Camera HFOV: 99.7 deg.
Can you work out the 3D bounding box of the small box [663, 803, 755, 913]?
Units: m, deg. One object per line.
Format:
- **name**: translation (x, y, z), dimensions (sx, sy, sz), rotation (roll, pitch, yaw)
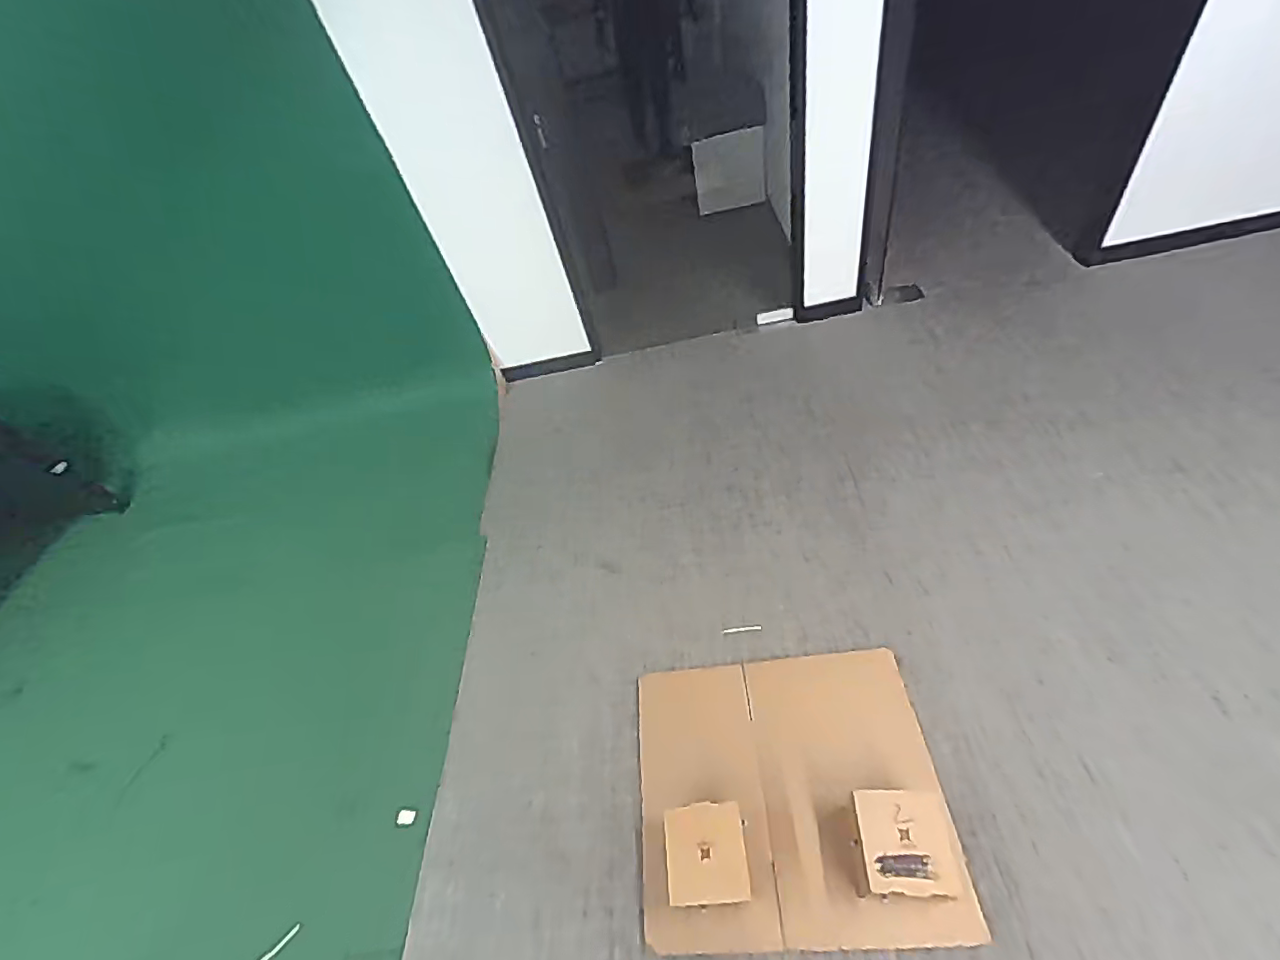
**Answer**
- **small box**: translation (0.150, 0.818, 1.164), dimensions (0.168, 0.176, 0.179), rotation (-10, 47, 7)
